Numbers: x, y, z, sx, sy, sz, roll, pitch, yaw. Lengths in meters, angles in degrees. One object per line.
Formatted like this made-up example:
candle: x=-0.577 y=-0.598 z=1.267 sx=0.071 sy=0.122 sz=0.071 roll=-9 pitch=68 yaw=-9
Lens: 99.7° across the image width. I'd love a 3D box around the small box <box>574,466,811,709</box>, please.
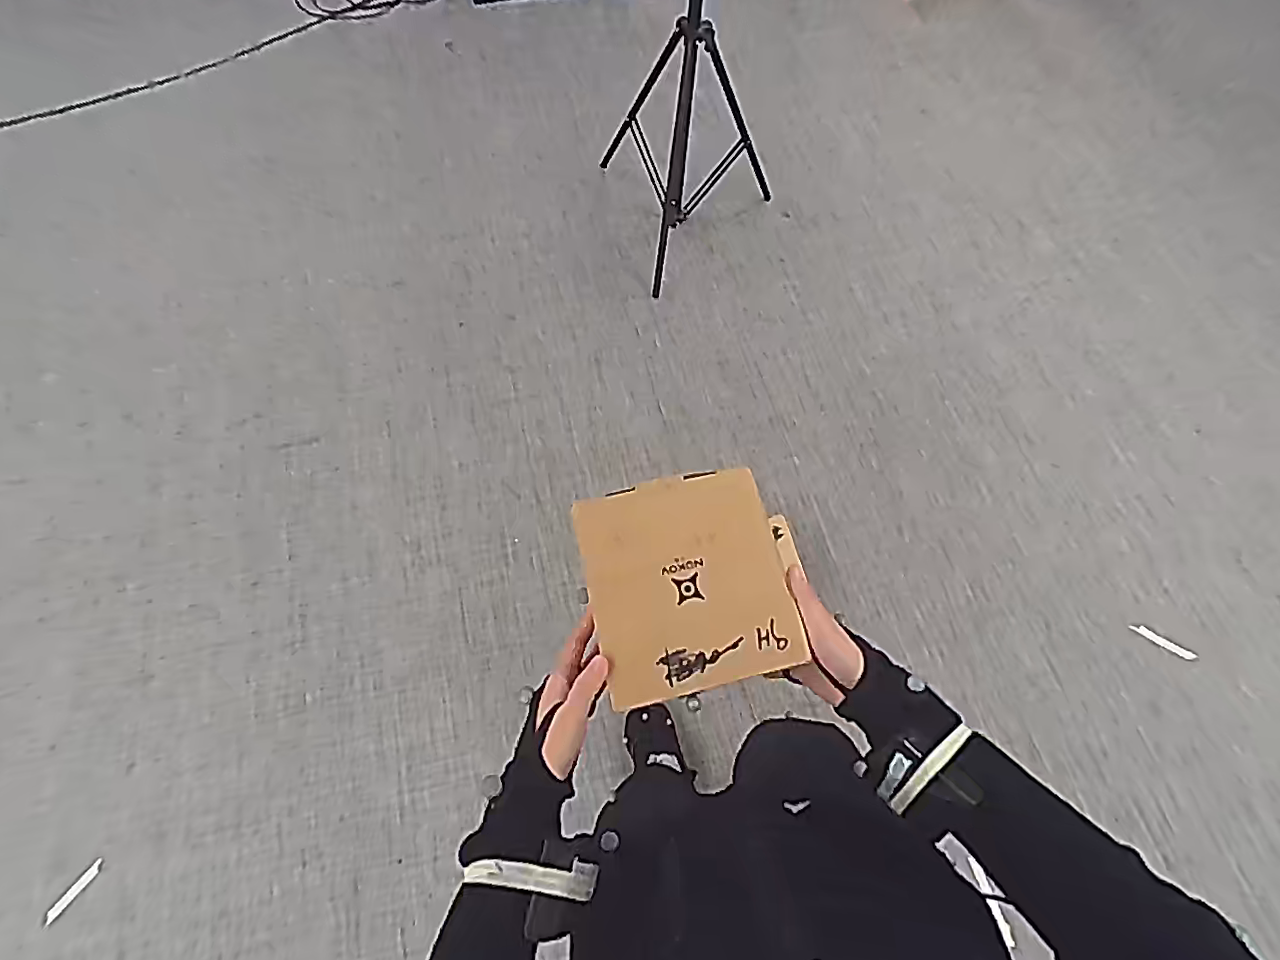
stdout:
small box: x=0.036 y=0.109 z=0.521 sx=0.168 sy=0.176 sz=0.179 roll=-12 pitch=71 yaw=-5
